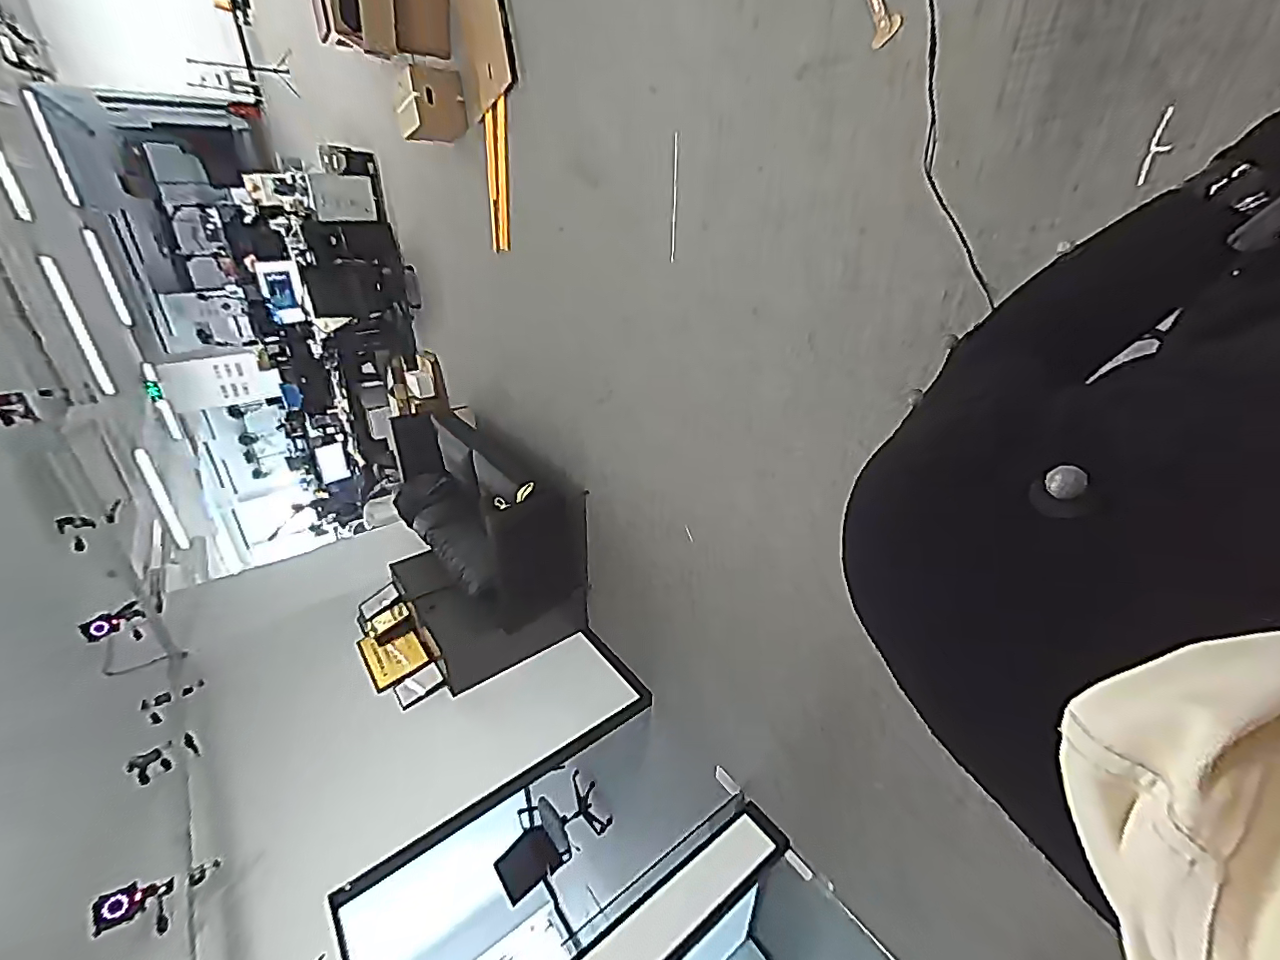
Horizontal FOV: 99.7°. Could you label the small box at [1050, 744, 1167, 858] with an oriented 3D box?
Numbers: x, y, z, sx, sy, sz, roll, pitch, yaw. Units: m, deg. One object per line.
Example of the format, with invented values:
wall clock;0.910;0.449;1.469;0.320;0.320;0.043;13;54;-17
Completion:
small box;1.288;0.874;1.485;0.179;0.176;0.168;35;134;41
